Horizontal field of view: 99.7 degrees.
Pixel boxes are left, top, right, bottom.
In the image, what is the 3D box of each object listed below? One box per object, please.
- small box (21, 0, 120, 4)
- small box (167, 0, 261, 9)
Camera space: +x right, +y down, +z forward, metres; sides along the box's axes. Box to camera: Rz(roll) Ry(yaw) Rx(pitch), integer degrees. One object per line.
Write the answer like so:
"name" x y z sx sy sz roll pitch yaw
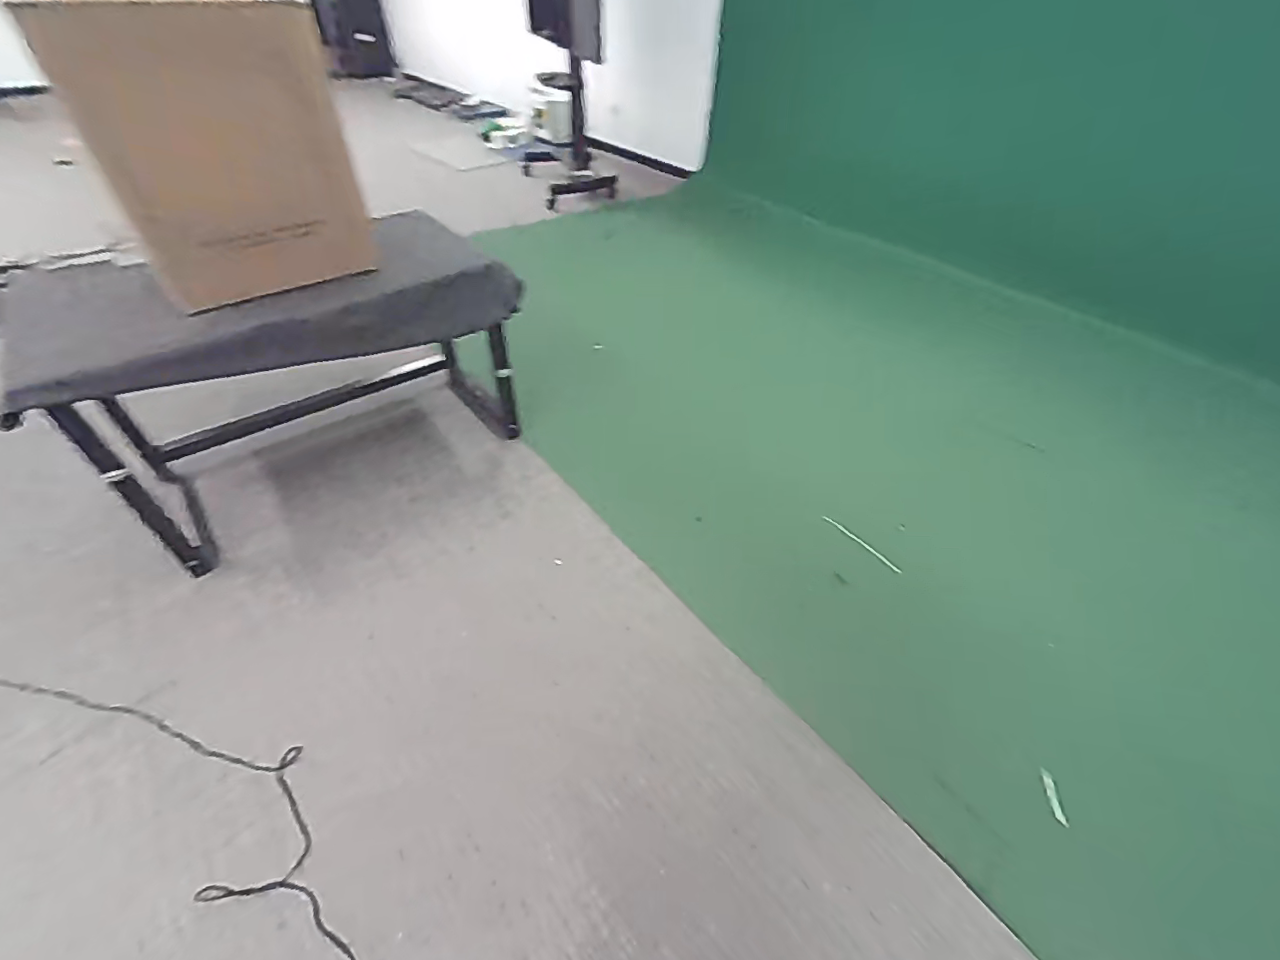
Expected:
"small box" -1.176 -1.049 1.057 0.179 0.176 0.168 33 52 25
"small box" -0.993 -1.172 1.209 0.168 0.176 0.179 -33 56 -31
